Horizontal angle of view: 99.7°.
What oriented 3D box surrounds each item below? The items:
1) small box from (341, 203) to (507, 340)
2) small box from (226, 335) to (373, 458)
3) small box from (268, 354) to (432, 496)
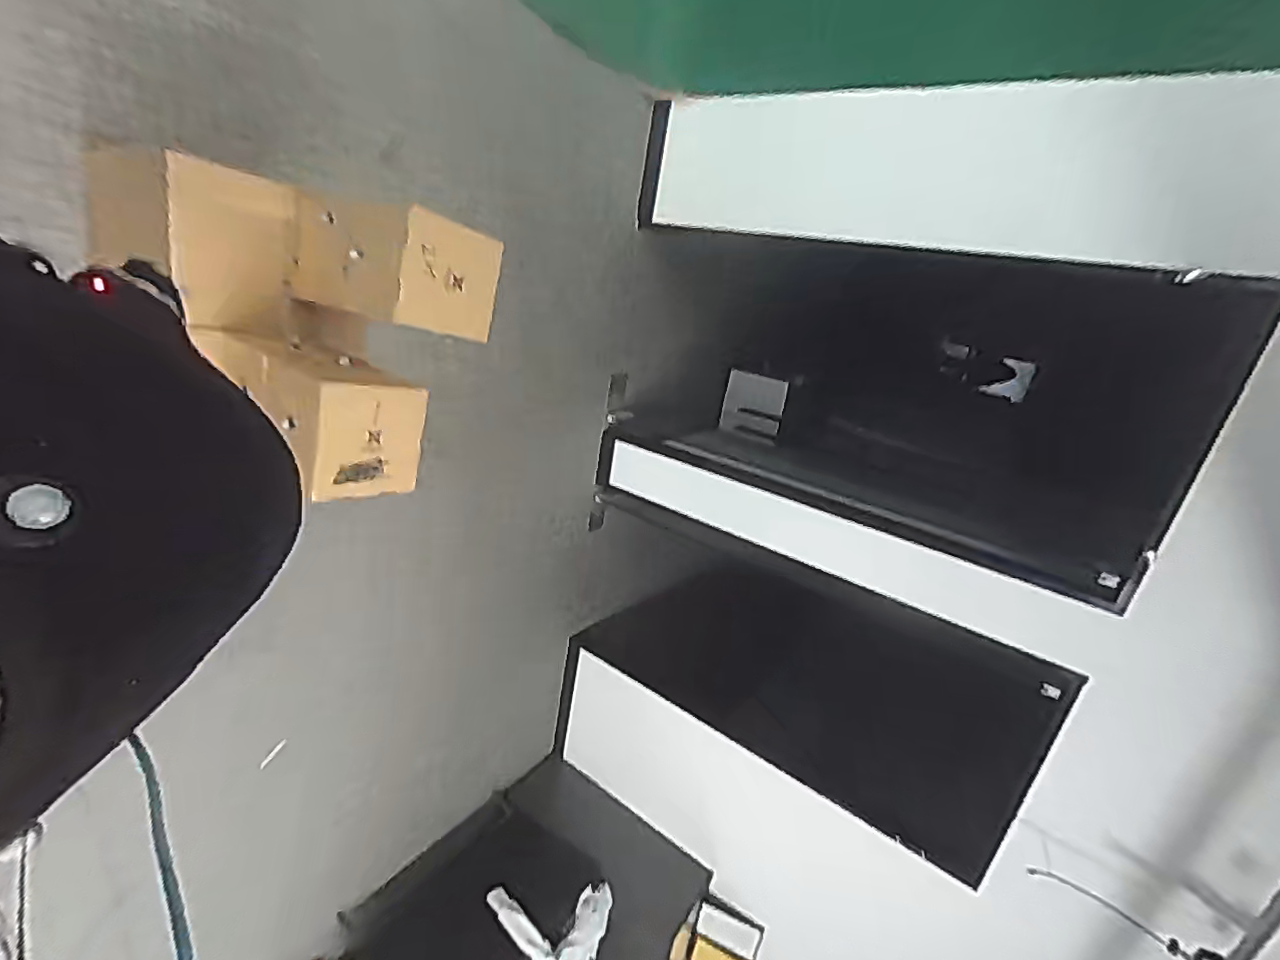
[{"bbox_3d":[-0.351,-0.339,0.882,0.179,0.176,0.168,-4,111,-56],"label":"small box"},{"bbox_3d":[-0.592,-0.146,0.938,0.168,0.176,0.179,-7,114,-54],"label":"small box"},{"bbox_3d":[-0.461,-0.089,0.857,0.168,0.176,0.179,-8,115,-56],"label":"small box"}]
